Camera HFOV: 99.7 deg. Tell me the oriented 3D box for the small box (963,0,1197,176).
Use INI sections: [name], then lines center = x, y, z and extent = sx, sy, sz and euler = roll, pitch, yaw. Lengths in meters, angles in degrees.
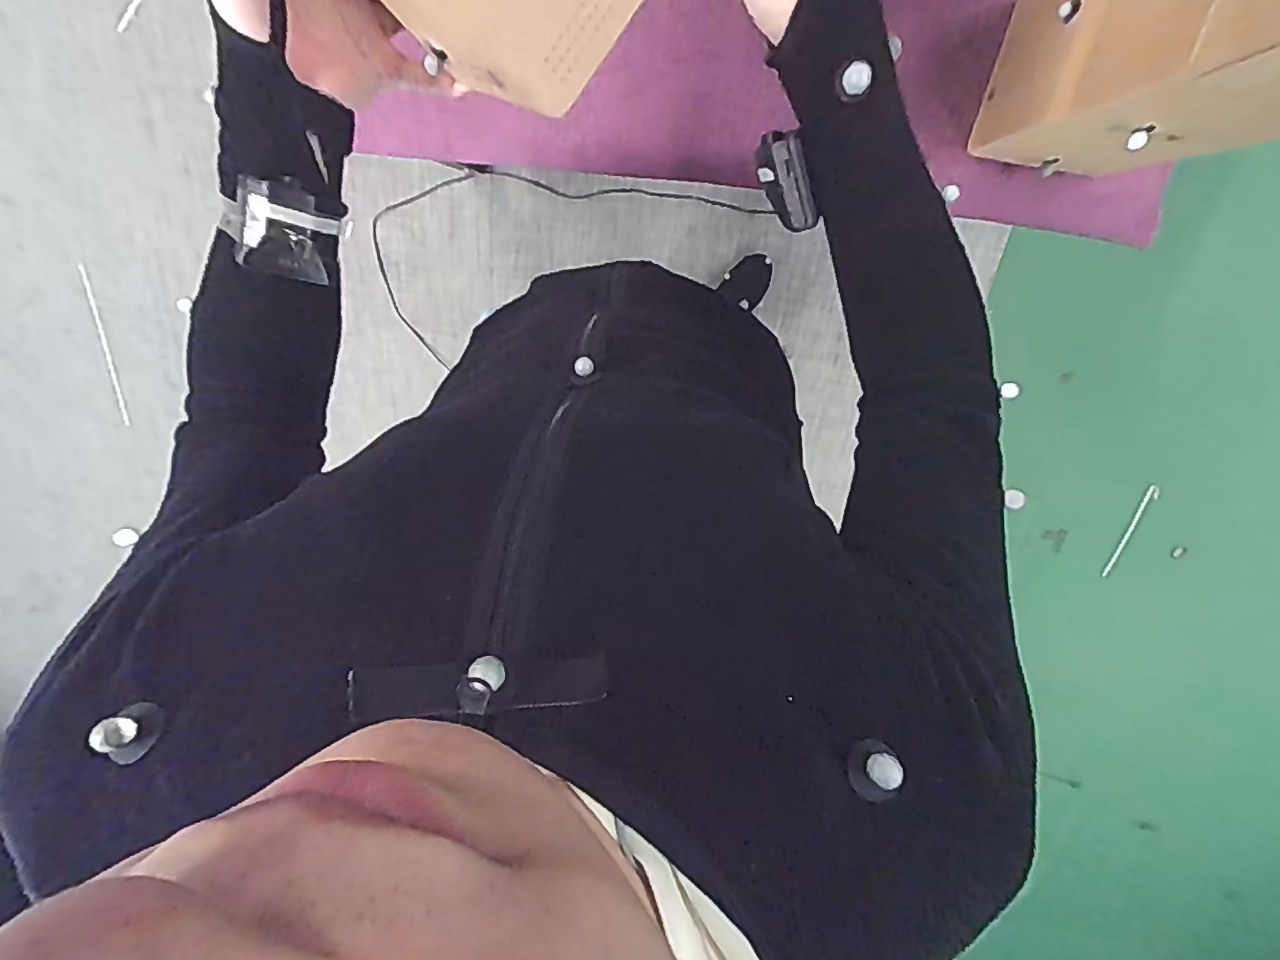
[small box]
center = 0.507, -0.450, 0.597
extent = 0.179, 0.176, 0.168
euler = 11, 112, 1
